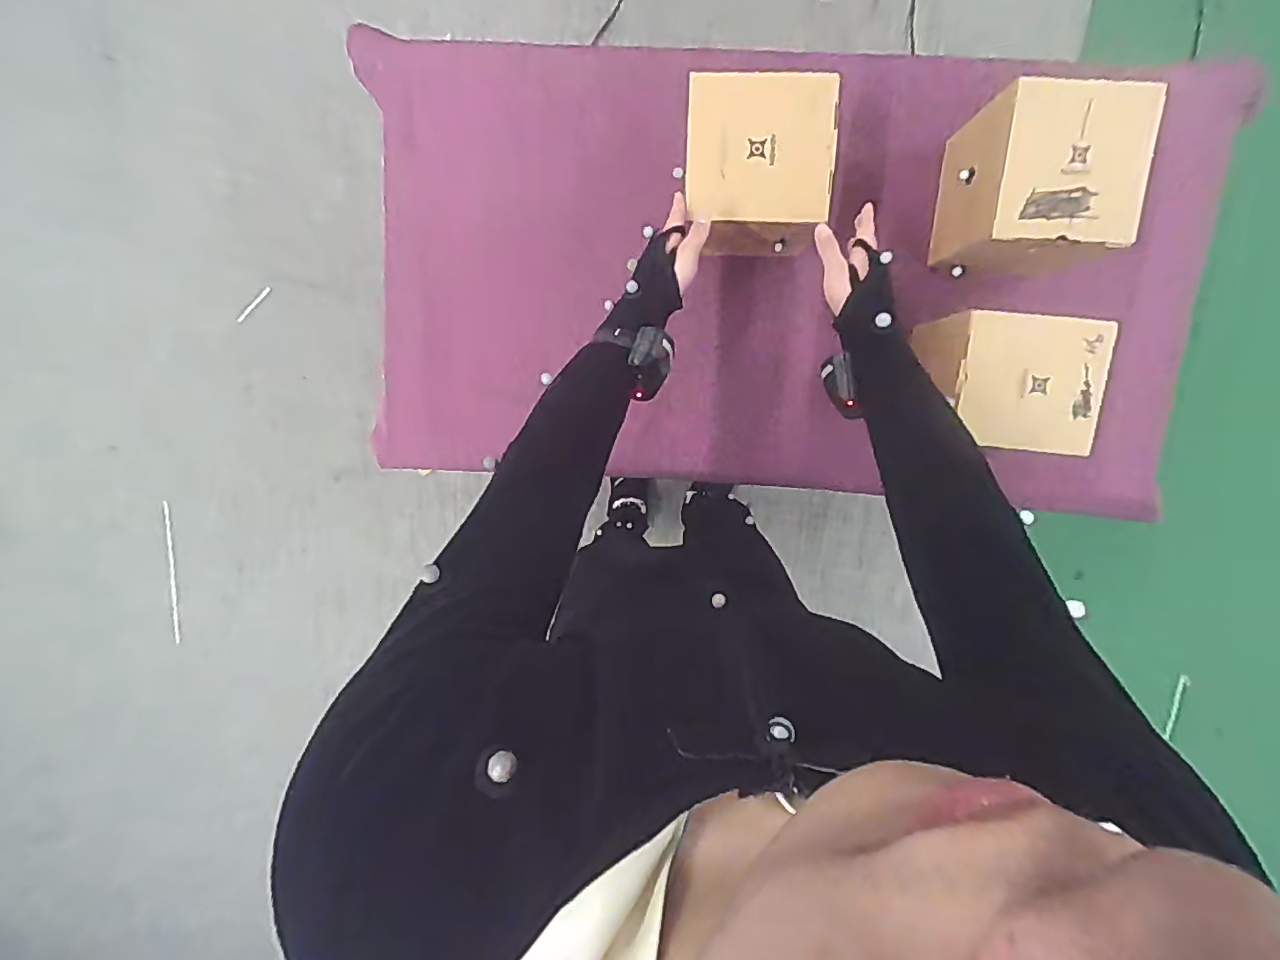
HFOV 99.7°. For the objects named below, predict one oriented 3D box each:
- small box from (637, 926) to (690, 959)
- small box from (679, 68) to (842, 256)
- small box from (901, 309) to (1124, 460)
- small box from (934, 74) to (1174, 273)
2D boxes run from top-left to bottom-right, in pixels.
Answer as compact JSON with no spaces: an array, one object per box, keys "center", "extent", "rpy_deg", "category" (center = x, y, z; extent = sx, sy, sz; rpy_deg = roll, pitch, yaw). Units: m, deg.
[{"center":[0.073,1.630,1.777],"extent":[0.168,0.176,0.179],"rpy_deg":[7,100,2],"category":"small box"},{"center":[0.144,-0.400,0.707],"extent":[0.179,0.176,0.168],"rpy_deg":[3,99,4],"category":"small box"},{"center":[0.480,-0.125,0.729],"extent":[0.179,0.176,0.168],"rpy_deg":[7,99,3],"category":"small box"},{"center":[0.502,-0.372,0.688],"extent":[0.168,0.176,0.179],"rpy_deg":[5,99,3],"category":"small box"}]
